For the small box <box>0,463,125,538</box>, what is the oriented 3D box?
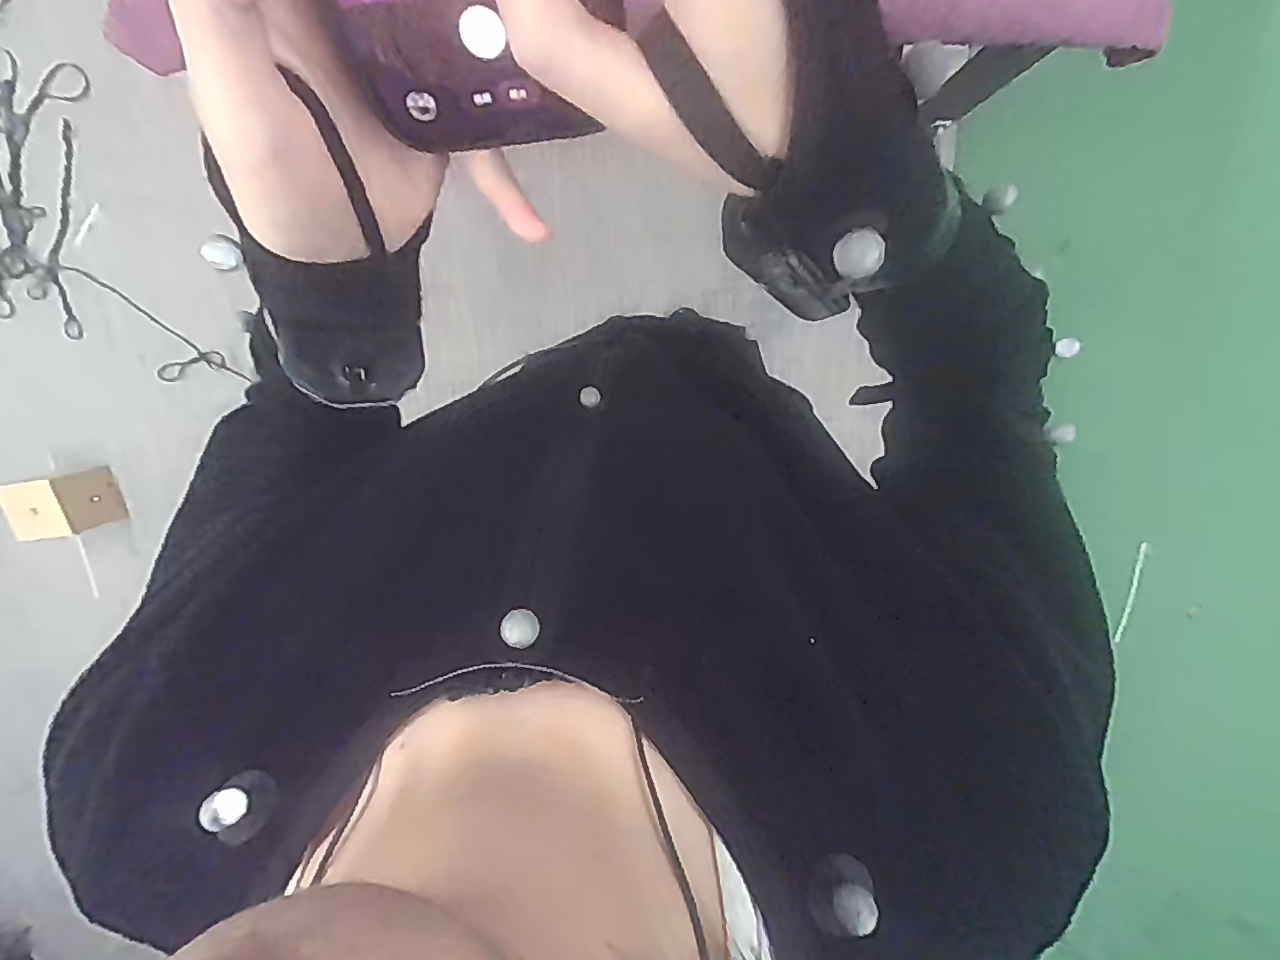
[{"bbox_3d":[-1.659,0.054,1.568,0.179,0.176,0.168,-6,106,6],"label":"small box"}]
